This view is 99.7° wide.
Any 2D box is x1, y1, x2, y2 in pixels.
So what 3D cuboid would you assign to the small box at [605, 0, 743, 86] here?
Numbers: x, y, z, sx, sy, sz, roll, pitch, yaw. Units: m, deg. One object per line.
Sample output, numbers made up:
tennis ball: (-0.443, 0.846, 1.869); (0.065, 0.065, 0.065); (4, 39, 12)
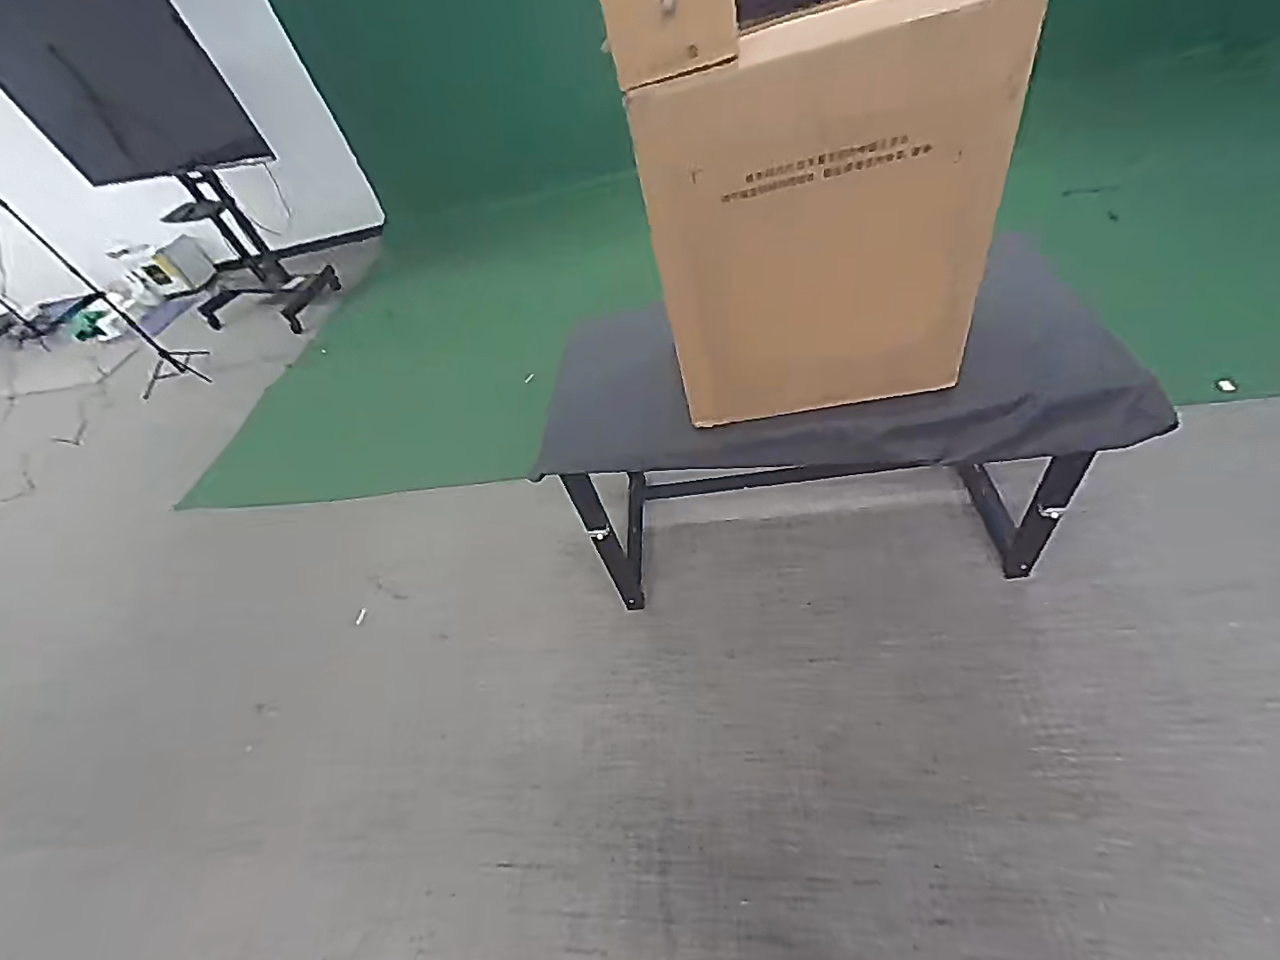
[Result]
small box: (0.039, -0.658, 0.721); (0.168, 0.176, 0.179); (-10, 48, 10)
